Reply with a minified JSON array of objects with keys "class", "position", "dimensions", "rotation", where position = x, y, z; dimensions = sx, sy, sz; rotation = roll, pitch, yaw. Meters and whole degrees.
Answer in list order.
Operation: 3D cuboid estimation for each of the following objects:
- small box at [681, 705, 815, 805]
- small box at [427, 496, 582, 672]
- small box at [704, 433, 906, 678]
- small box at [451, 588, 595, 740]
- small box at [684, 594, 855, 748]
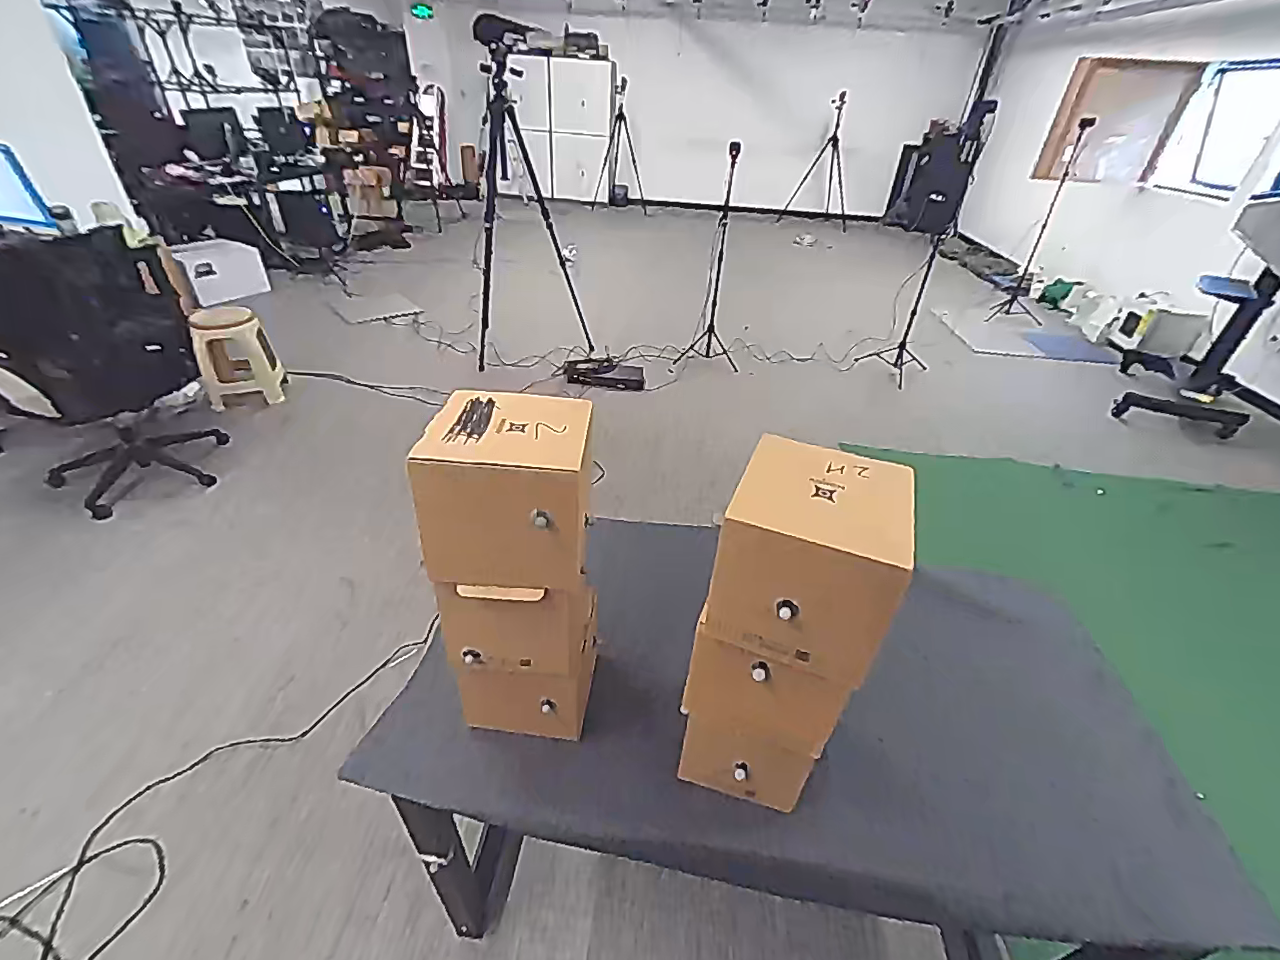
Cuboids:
[{"class":"small box","position":[0.157,0.332,0.785],"dimensions":[0.168,0.176,0.179],"rotation":[11,36,12]},{"class":"small box","position":[-0.170,0.142,0.746],"dimensions":[0.168,0.176,0.179],"rotation":[3,33,-1]},{"class":"small box","position":[0.172,0.076,0.579],"dimensions":[0.168,0.176,0.179],"rotation":[15,36,17]},{"class":"small box","position":[-0.167,0.278,0.840],"dimensions":[0.179,0.176,0.168],"rotation":[4,34,3]},{"class":"small box","position":[0.165,0.204,0.684],"dimensions":[0.179,0.176,0.168],"rotation":[14,36,16]}]
